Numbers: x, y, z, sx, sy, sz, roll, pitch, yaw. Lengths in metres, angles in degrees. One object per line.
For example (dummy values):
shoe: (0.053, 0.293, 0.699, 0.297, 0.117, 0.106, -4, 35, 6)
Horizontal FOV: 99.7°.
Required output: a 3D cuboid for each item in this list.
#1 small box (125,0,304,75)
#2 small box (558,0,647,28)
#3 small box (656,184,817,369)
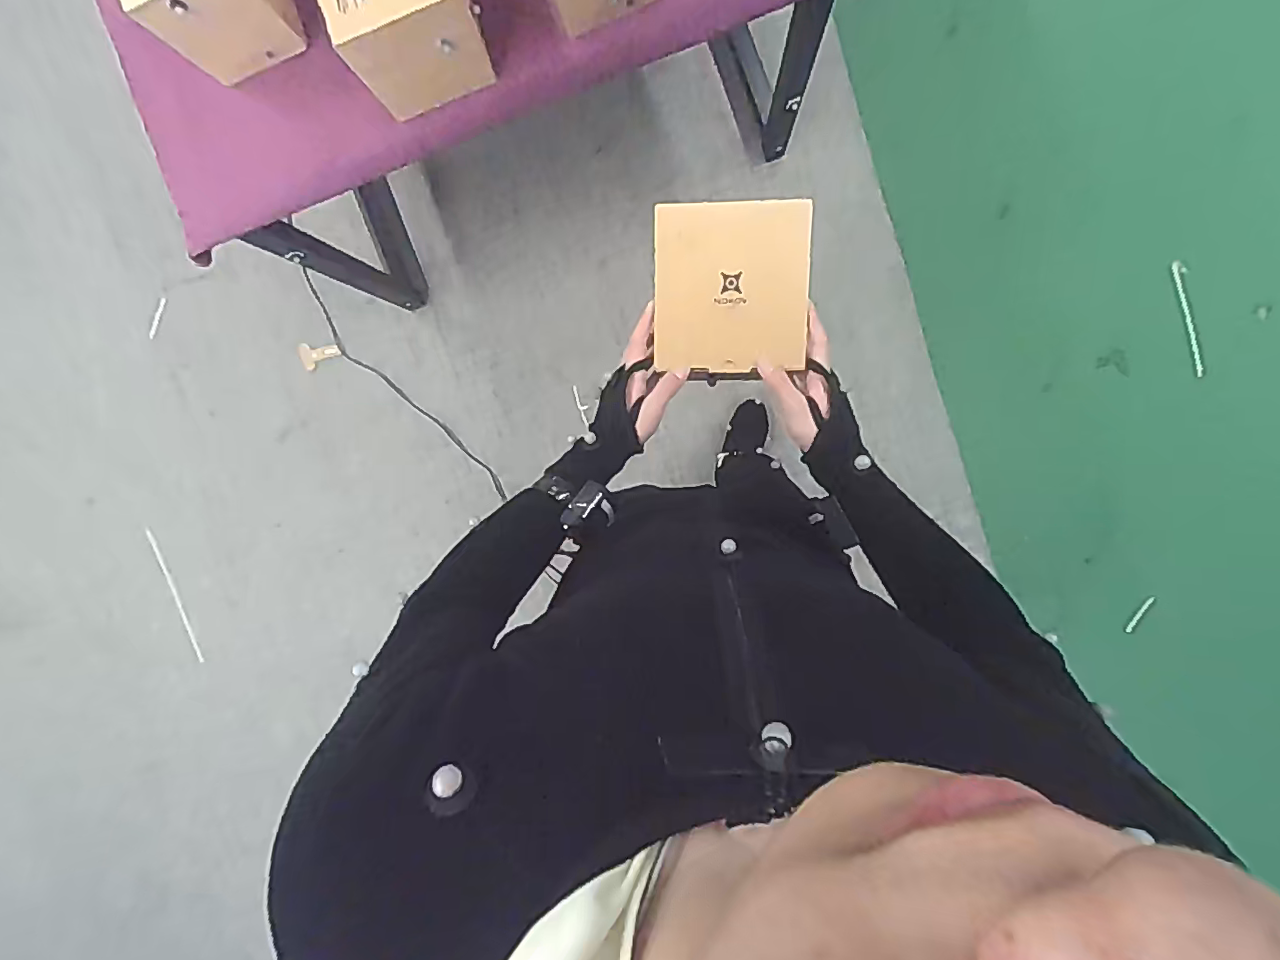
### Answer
small box: (-0.649, -0.763, 0.801, 0.168, 0.176, 0.179, -18, 93, 8)
small box: (-0.070, -0.794, 0.744, 0.168, 0.176, 0.179, -17, 93, 8)
small box: (0.104, -0.228, 0.647, 0.168, 0.176, 0.179, 1, 99, 4)
